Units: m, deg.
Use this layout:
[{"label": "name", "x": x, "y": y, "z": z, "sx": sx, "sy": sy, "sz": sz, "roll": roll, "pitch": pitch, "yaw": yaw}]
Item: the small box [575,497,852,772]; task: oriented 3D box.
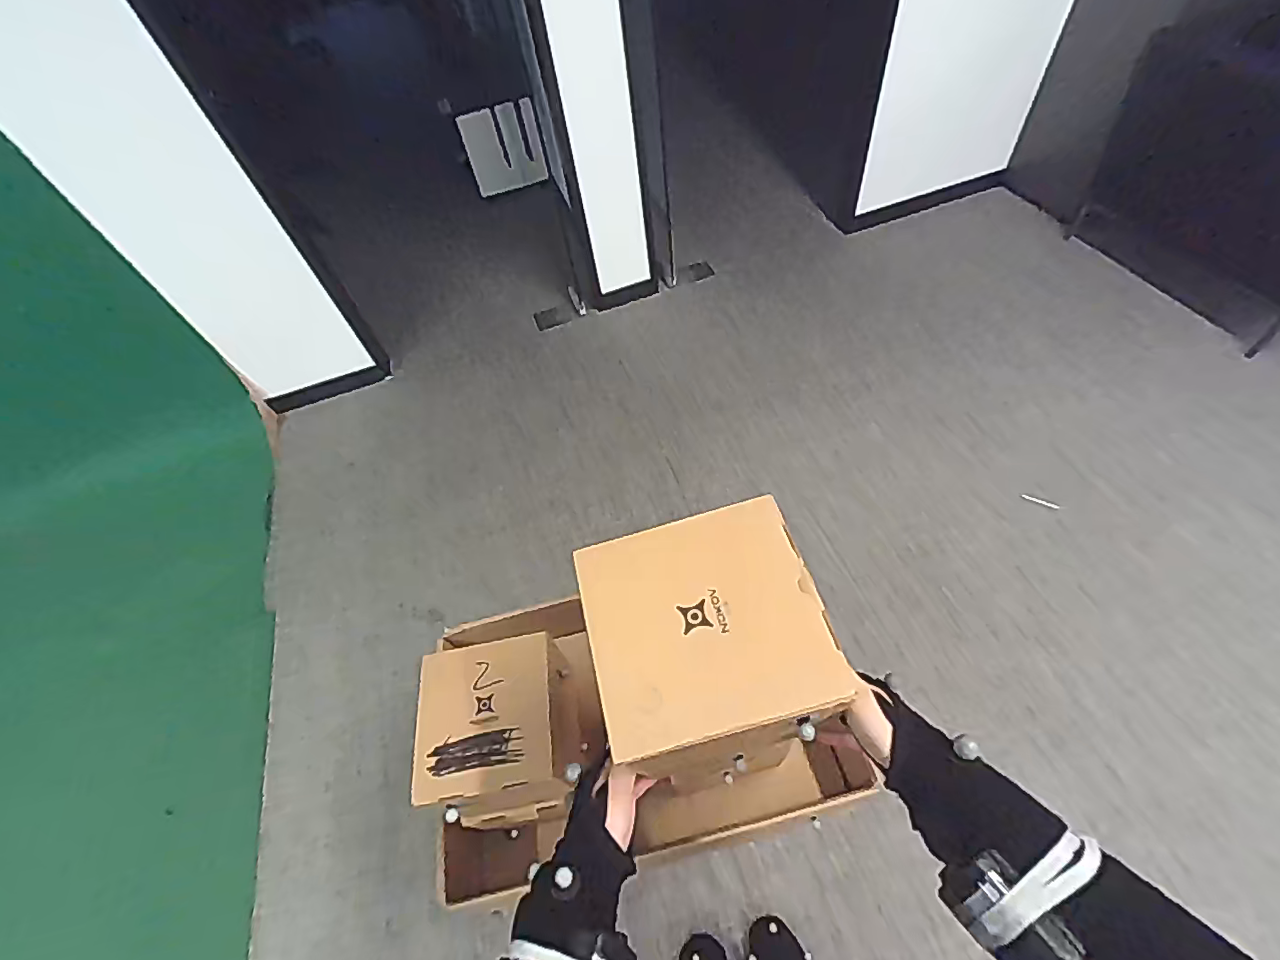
[{"label": "small box", "x": 0.058, "y": 0.144, "z": 0.477, "sx": 0.179, "sy": 0.176, "sz": 0.168, "roll": -16, "pitch": 57, "yaw": -1}]
